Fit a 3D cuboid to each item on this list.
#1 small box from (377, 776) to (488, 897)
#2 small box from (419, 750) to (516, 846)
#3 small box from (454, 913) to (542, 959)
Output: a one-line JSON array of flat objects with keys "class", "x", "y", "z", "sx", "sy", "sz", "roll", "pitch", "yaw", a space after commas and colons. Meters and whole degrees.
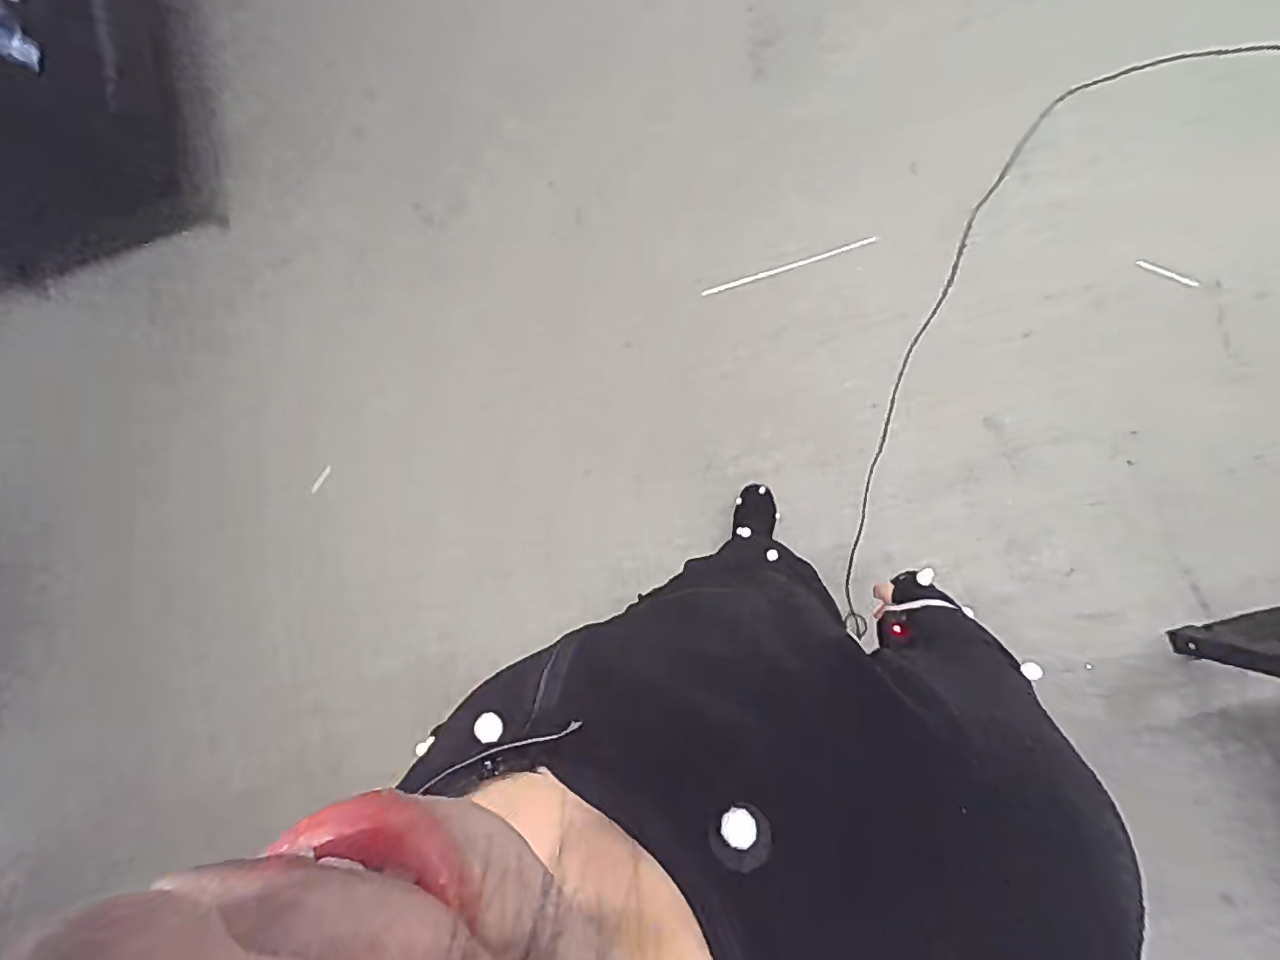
[{"class": "small box", "x": -0.481, "y": 0.836, "z": 1.286, "sx": 0.179, "sy": 0.176, "sz": 0.168, "roll": -19, "pitch": 80, "yaw": 8}, {"class": "small box", "x": -0.454, "y": 0.859, "z": 1.447, "sx": 0.168, "sy": 0.176, "sz": 0.179, "roll": -20, "pitch": 80, "yaw": 8}, {"class": "small box", "x": -0.358, "y": 1.257, "z": 1.386, "sx": 0.168, "sy": 0.176, "sz": 0.179, "roll": -7, "pitch": 83, "yaw": 10}]
